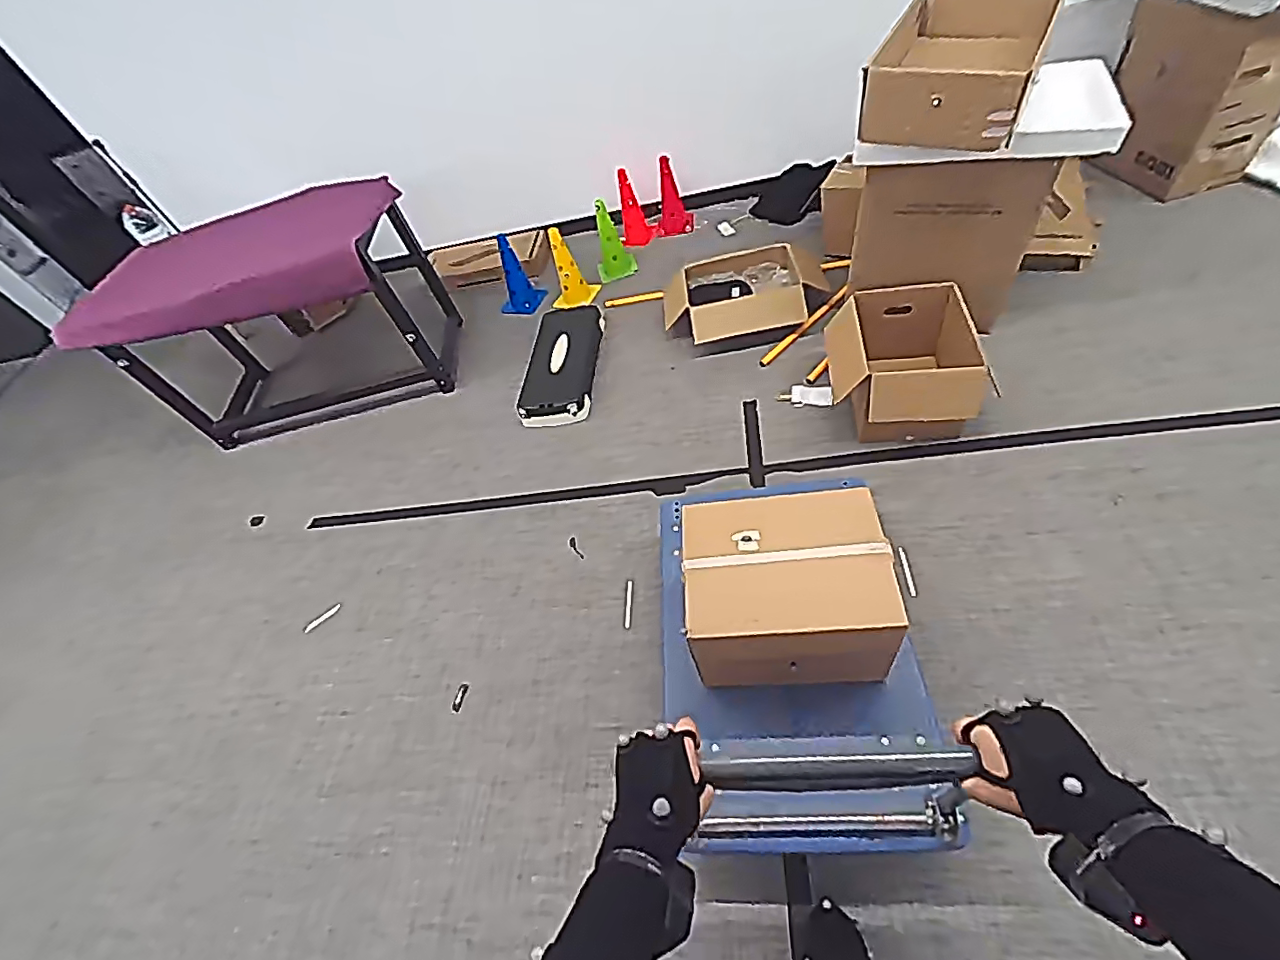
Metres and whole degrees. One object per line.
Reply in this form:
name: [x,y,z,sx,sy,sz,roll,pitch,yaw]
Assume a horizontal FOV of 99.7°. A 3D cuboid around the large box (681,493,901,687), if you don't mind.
large box: [0.322,0.262,1.230,0.408,0.320,0.320,-7,51,11]
